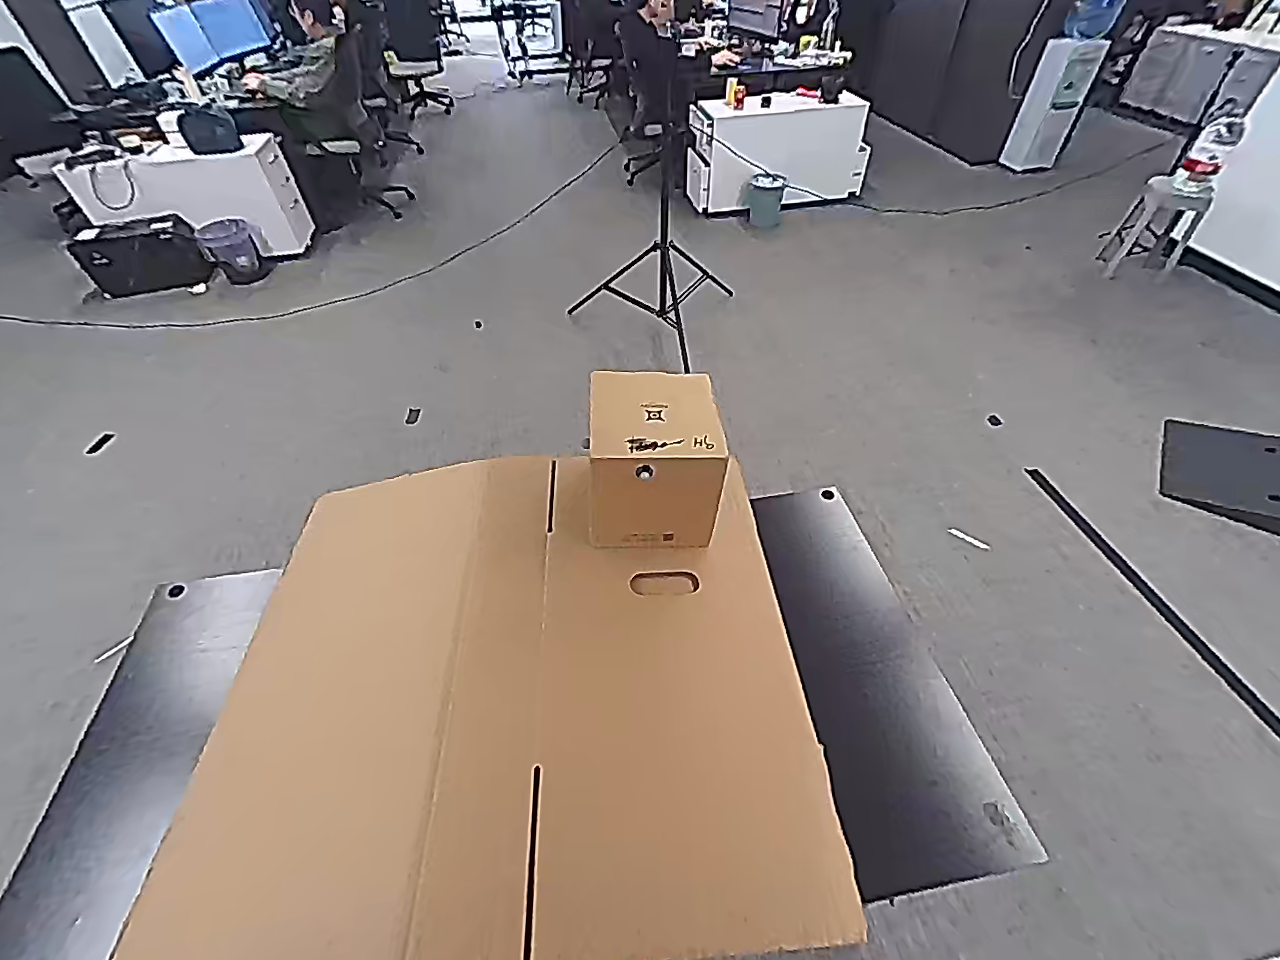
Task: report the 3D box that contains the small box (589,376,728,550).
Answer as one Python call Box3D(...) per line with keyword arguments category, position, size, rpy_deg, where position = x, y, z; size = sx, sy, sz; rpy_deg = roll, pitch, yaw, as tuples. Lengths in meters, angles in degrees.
Box3D(category="small box", position=(0.015, -0.024, 0.742), size=(0.168, 0.176, 0.179), rpy_deg=(-1, 44, -4))
